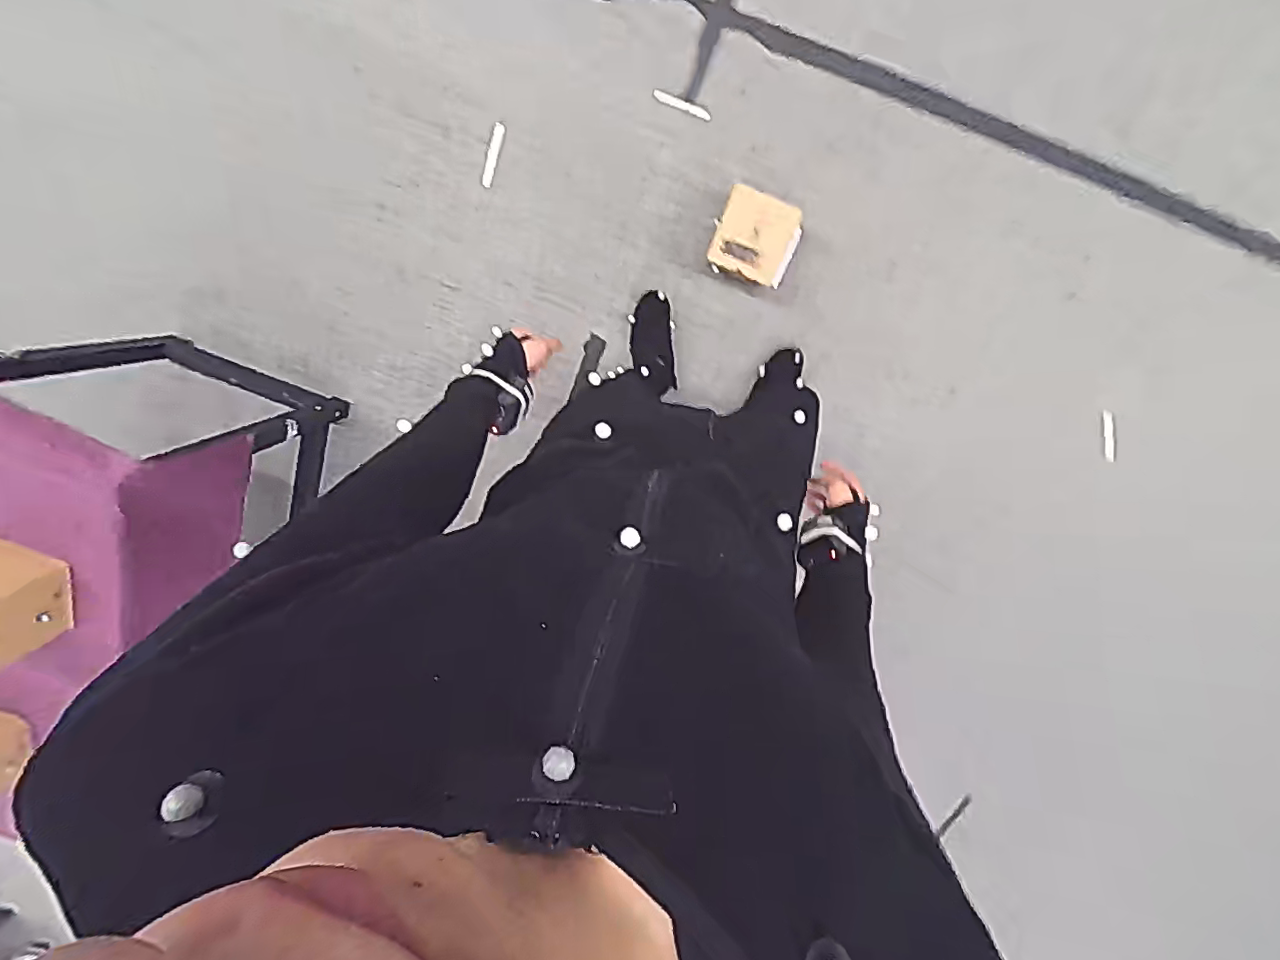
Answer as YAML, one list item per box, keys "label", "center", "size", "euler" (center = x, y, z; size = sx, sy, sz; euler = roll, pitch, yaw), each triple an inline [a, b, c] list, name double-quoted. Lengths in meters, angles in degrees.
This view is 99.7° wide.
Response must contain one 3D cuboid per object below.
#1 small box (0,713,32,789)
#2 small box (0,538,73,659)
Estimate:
- label: "small box"
  center: [-1.512, 0.618, 1.185]
  size: [0.179, 0.176, 0.168]
  euler: [22, 111, -2]
- label: "small box"
  center: [-1.233, 0.229, 1.012]
  size: [0.179, 0.176, 0.168]
  euler: [20, 111, -1]
